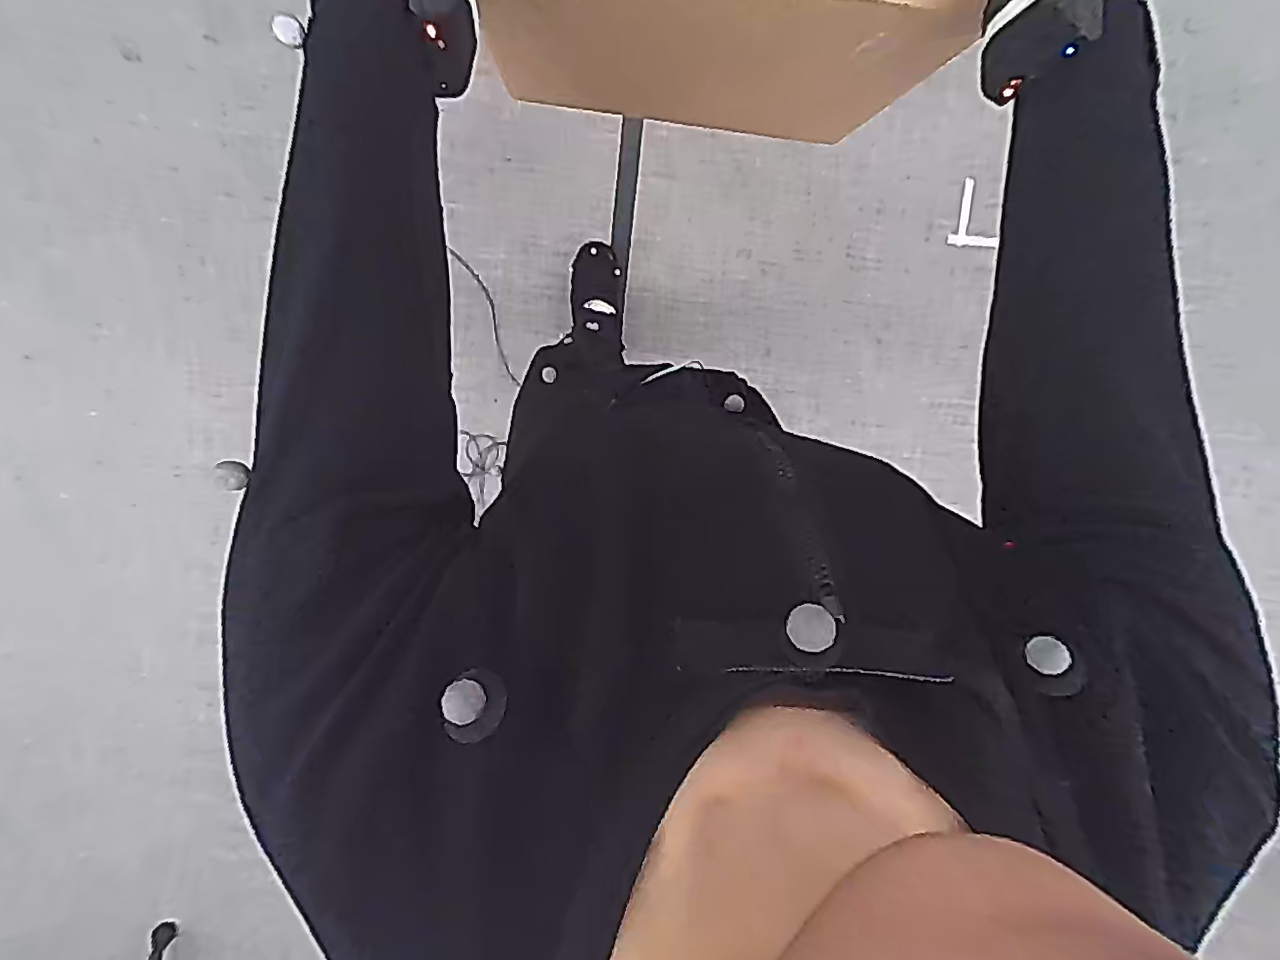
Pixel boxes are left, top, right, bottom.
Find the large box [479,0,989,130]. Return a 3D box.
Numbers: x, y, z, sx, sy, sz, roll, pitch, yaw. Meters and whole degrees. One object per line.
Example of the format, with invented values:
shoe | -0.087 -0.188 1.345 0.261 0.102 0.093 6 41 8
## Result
large box | 0.066 -0.550 0.477 0.408 0.320 0.320 4 108 -6
